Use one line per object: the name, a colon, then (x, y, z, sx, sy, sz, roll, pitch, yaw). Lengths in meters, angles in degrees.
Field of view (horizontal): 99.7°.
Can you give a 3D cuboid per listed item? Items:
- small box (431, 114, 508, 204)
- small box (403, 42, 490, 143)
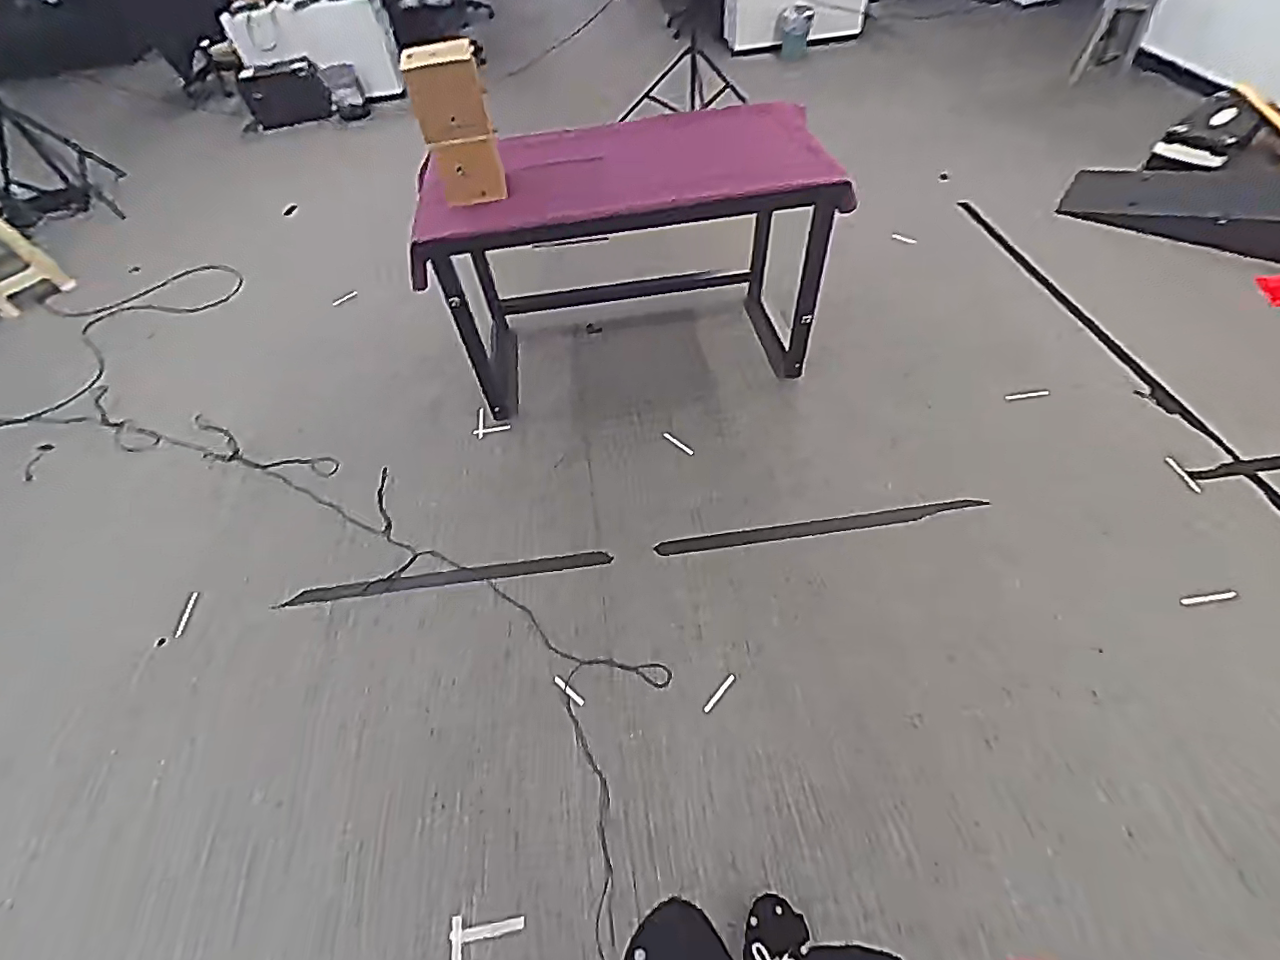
small box: (-0.481, -0.910, 1.543, 0.168, 0.176, 0.179, -11, 53, -3)
small box: (-0.499, -1.013, 1.416, 0.179, 0.176, 0.168, -12, 52, -5)
